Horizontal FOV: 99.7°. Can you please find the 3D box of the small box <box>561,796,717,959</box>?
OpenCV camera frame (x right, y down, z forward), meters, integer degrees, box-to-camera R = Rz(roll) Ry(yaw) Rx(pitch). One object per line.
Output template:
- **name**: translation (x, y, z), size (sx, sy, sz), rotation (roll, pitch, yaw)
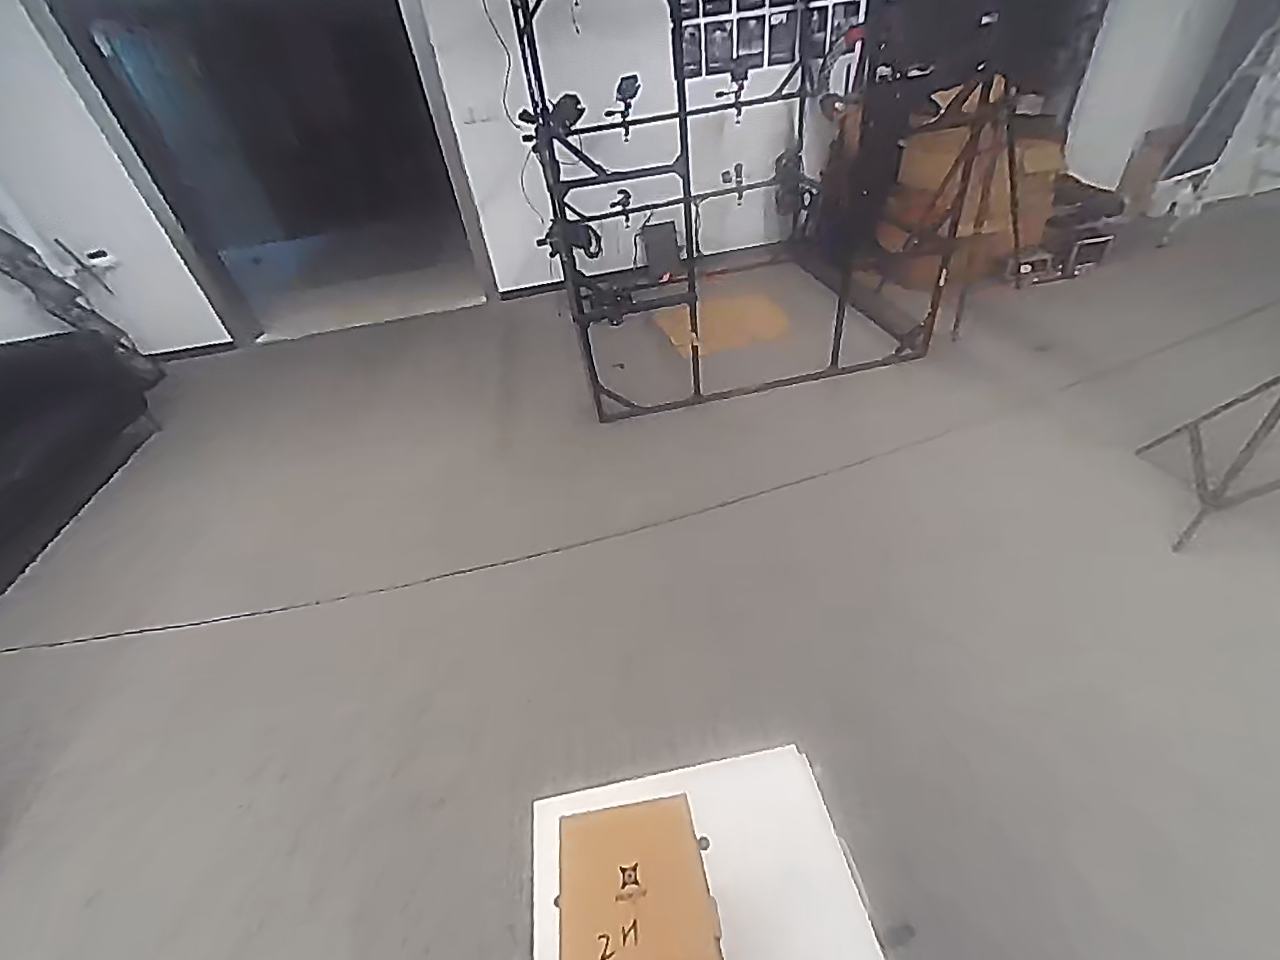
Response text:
- **small box**: translation (0.001, 0.528, 0.666), size (0.168, 0.176, 0.179), rotation (-11, 38, 0)
